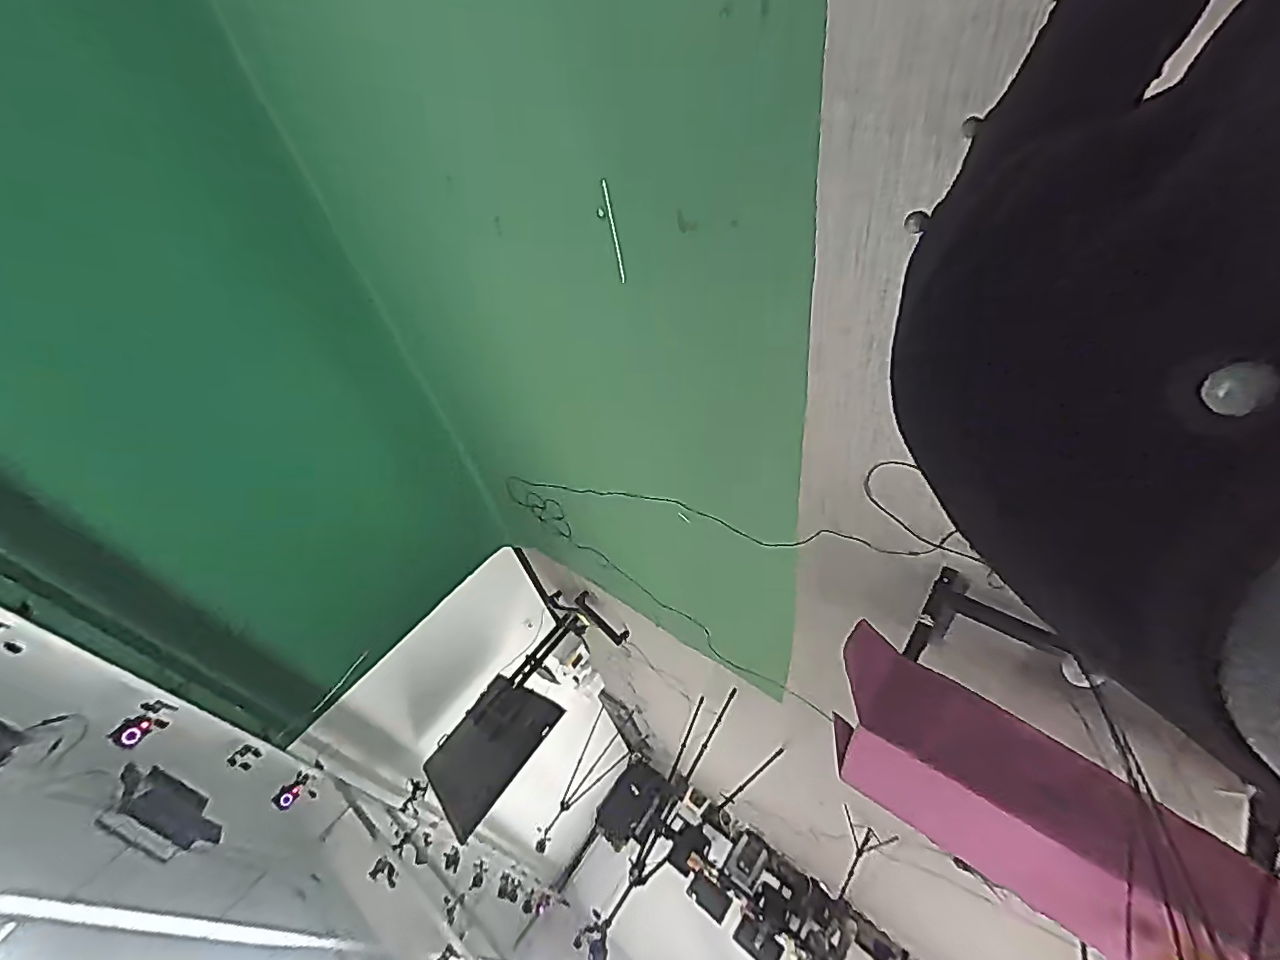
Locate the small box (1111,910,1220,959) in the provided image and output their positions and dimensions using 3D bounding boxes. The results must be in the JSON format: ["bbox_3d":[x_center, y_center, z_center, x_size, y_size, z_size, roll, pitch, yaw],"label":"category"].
[{"bbox_3d":[1.341,1.249,1.385,0.168,0.176,0.179,22,146,37],"label":"small box"}]
